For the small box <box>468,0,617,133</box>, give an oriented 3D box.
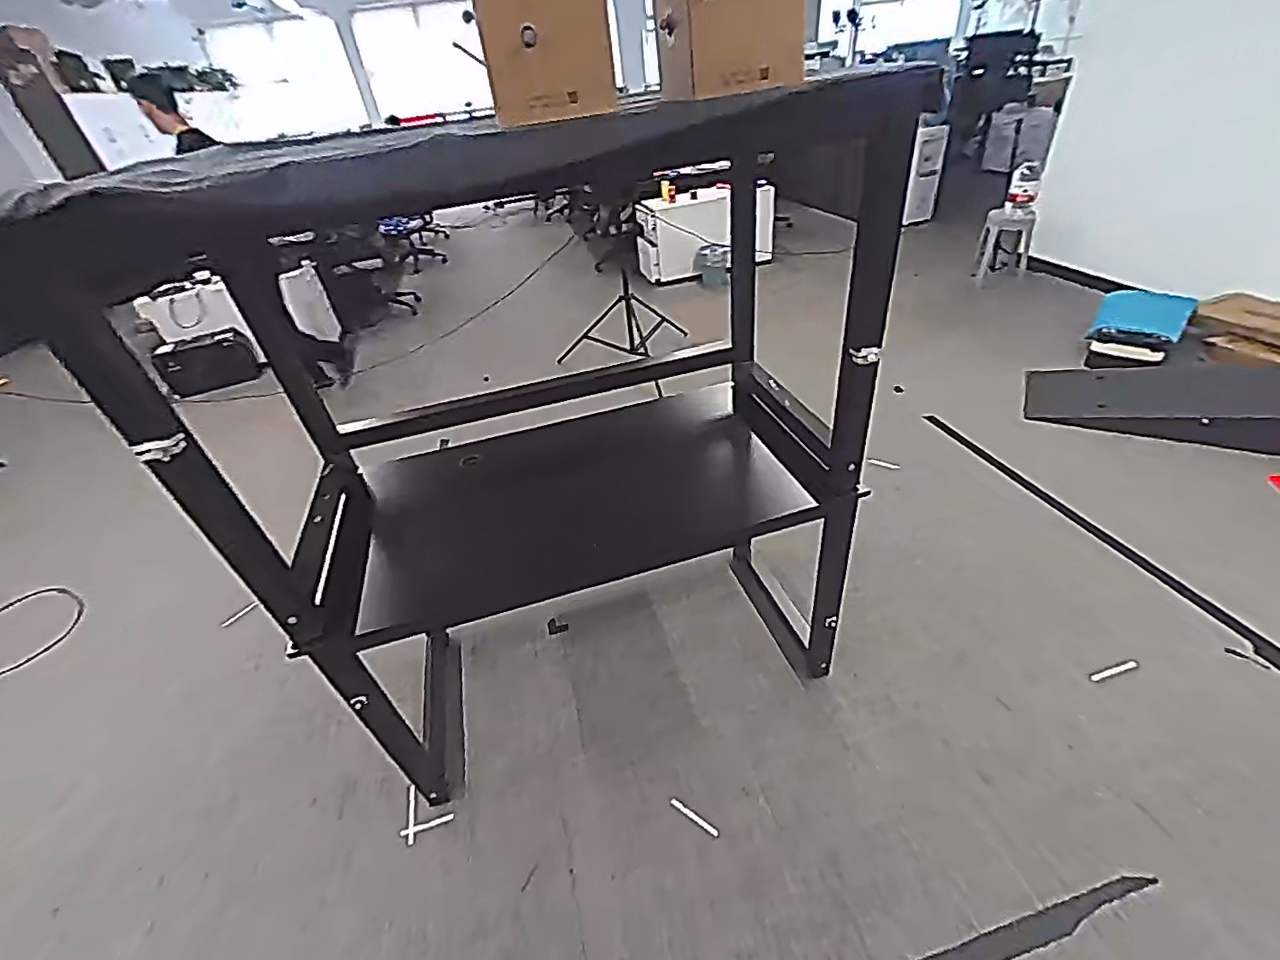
[{"bbox_3d":[-0.134,-0.589,0.745,0.168,0.176,0.179,-13,36,-6],"label":"small box"}]
